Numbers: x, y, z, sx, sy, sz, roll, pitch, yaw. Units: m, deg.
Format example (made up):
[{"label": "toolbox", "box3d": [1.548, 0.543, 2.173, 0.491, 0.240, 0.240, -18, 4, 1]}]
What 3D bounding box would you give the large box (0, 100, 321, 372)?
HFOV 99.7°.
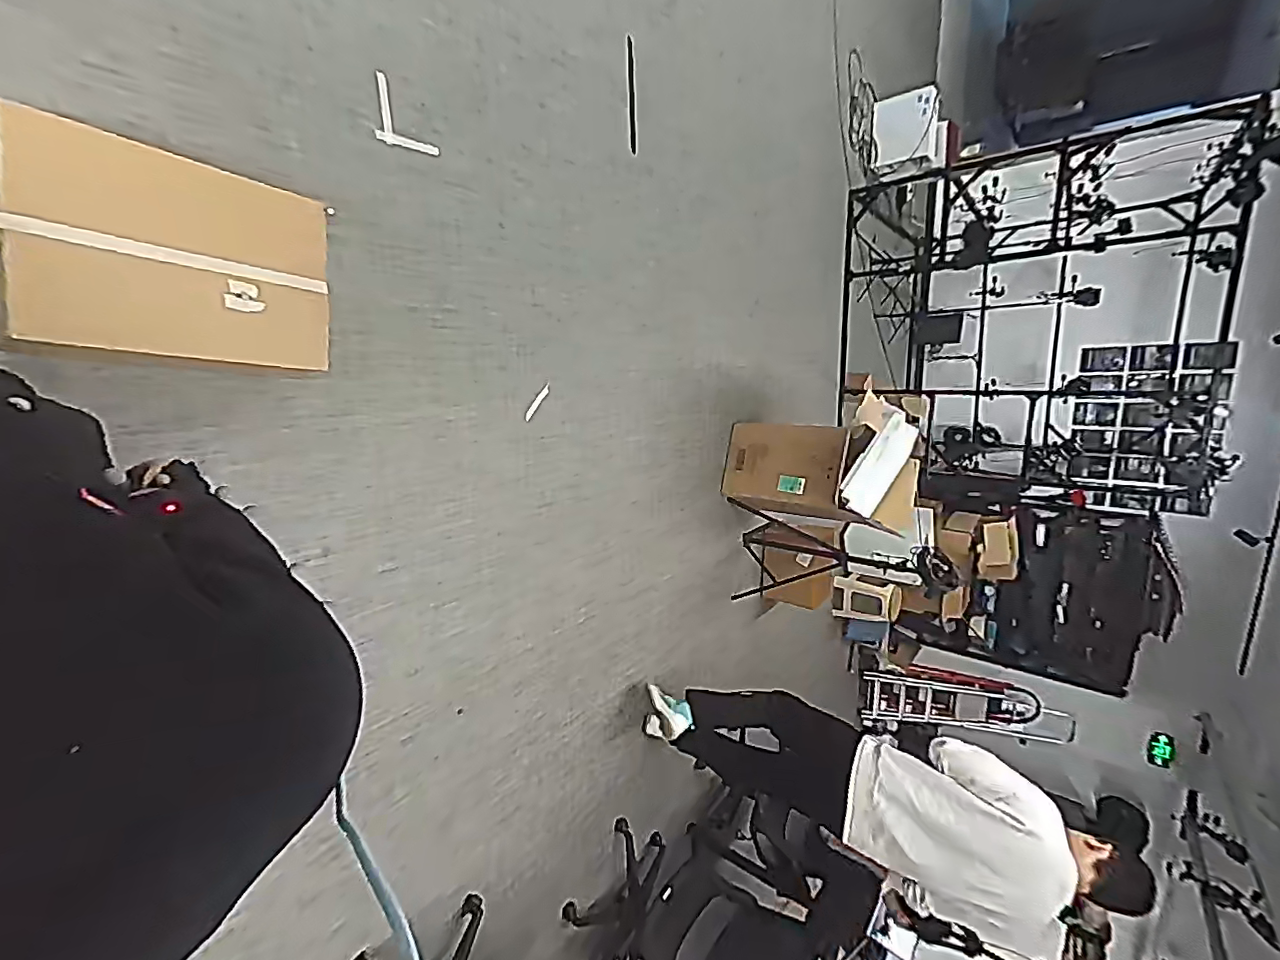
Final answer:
[{"label": "large box", "box3d": [-0.847, -0.368, 0.952, 0.408, 0.320, 0.320, -5, 100, -53]}]
